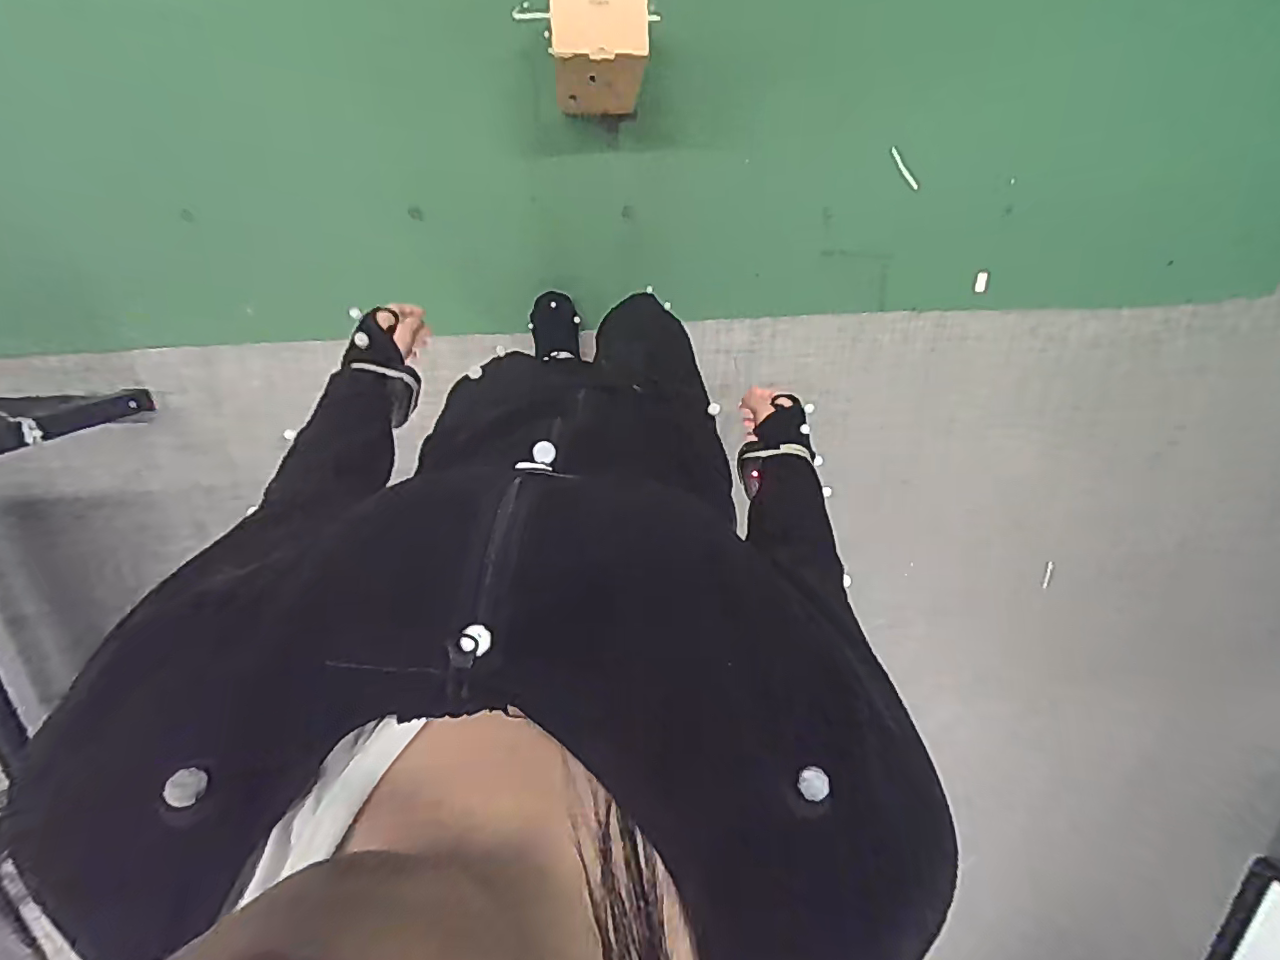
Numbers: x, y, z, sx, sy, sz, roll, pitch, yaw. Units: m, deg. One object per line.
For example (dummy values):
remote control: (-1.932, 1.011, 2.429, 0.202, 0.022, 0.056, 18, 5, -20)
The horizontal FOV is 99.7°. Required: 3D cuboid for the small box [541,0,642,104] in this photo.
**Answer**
small box: (-0.090, -0.811, 0.975, 0.168, 0.176, 0.179, -5, 109, -7)
